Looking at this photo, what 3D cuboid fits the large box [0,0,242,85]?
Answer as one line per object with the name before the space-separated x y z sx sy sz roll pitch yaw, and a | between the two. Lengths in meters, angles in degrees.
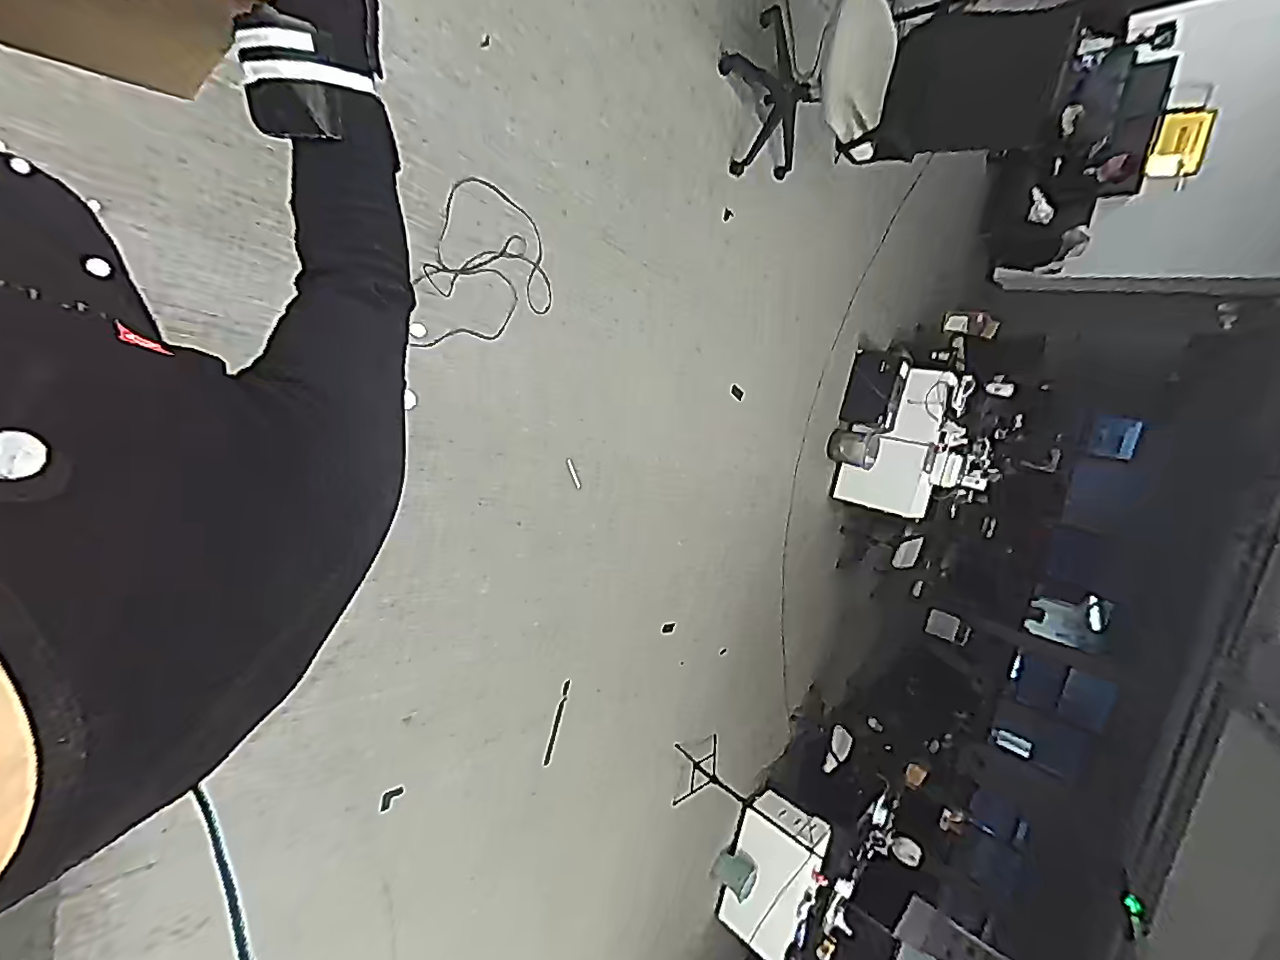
large box | -0.467 -0.463 0.254 0.408 0.320 0.320 -11 113 -45
